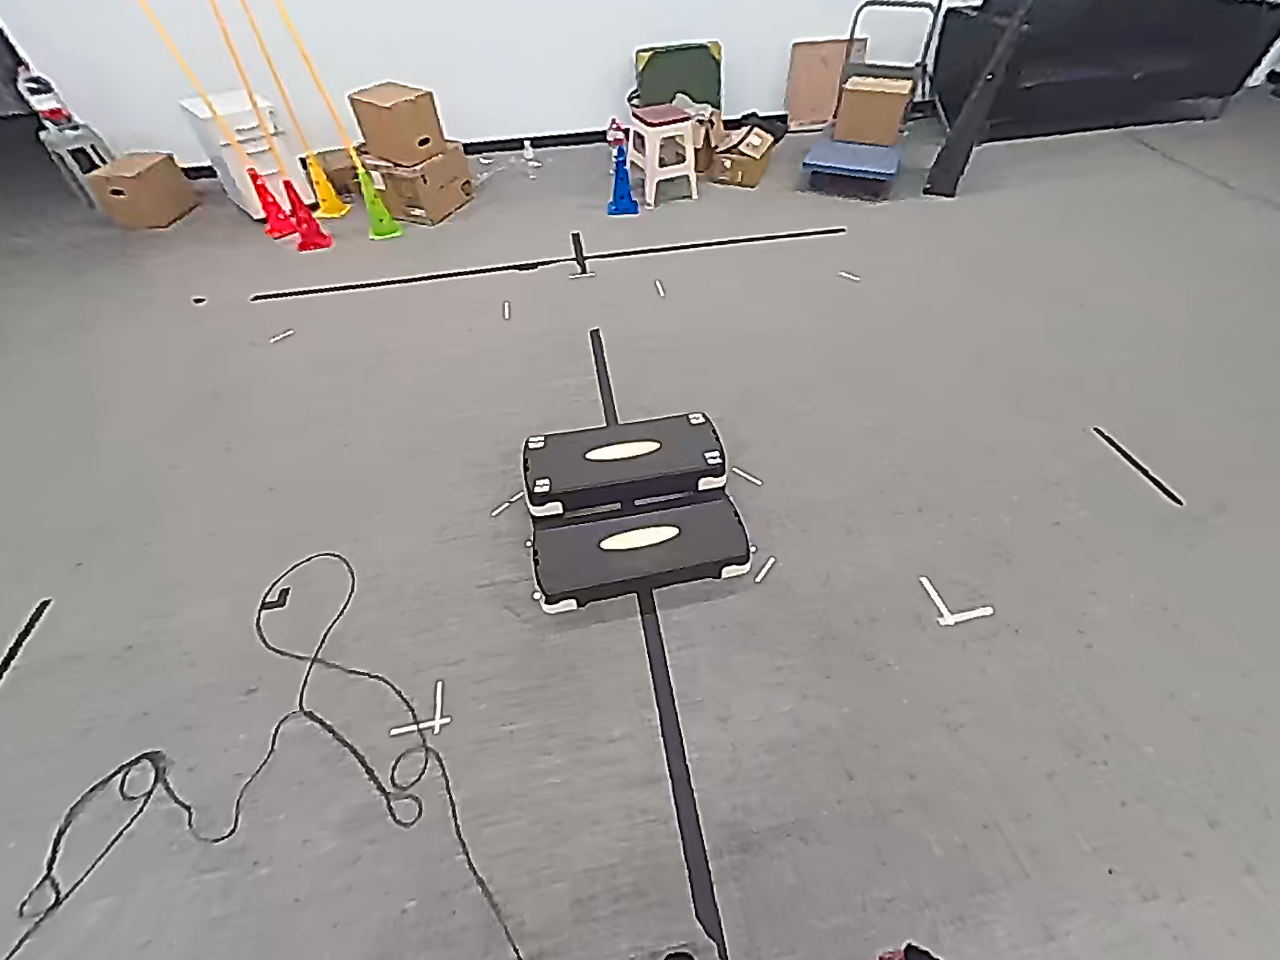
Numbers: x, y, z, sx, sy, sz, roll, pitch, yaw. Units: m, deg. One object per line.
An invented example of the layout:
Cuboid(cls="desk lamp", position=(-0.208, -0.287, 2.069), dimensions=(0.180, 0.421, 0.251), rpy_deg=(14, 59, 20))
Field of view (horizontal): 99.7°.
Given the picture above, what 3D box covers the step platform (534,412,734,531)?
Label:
Cuboid(cls="step platform", position=(-0.022, -0.040, 1.880), dimensions=(0.684, 0.204, 0.286), rpy_deg=(-9, 49, -7))
